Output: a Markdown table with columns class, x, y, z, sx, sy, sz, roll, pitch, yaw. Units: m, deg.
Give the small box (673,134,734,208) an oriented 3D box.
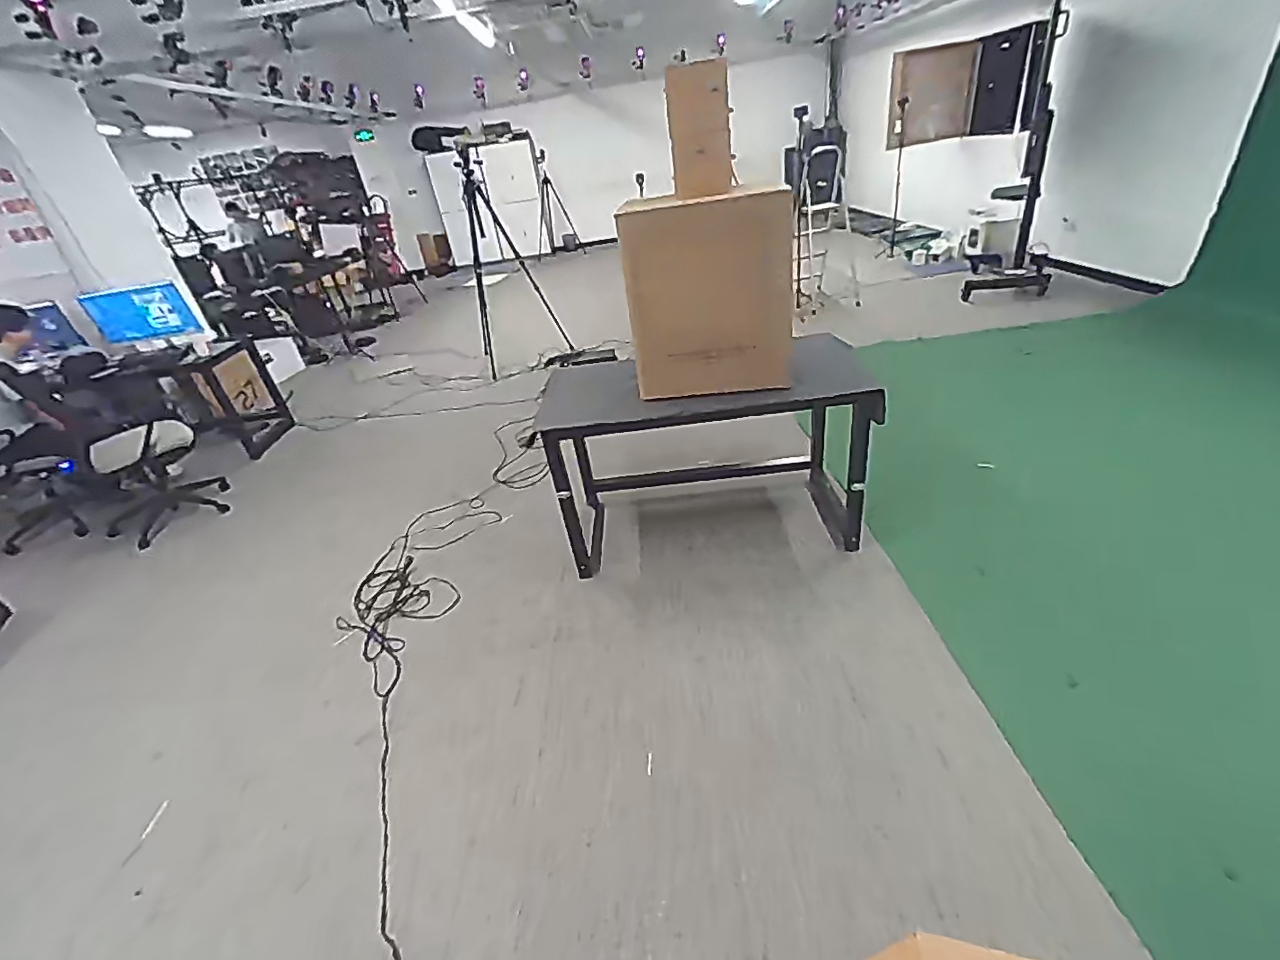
| class | x | y | z | sx | sy | sz | roll | pitch | yaw |
| --- | --- | --- | --- | --- | --- | --- | --- | --- | --- |
| small box | 0.199 | -0.953 | 1.668 | 0.179 | 0.176 | 0.168 | -3 | 34 | 10 |
